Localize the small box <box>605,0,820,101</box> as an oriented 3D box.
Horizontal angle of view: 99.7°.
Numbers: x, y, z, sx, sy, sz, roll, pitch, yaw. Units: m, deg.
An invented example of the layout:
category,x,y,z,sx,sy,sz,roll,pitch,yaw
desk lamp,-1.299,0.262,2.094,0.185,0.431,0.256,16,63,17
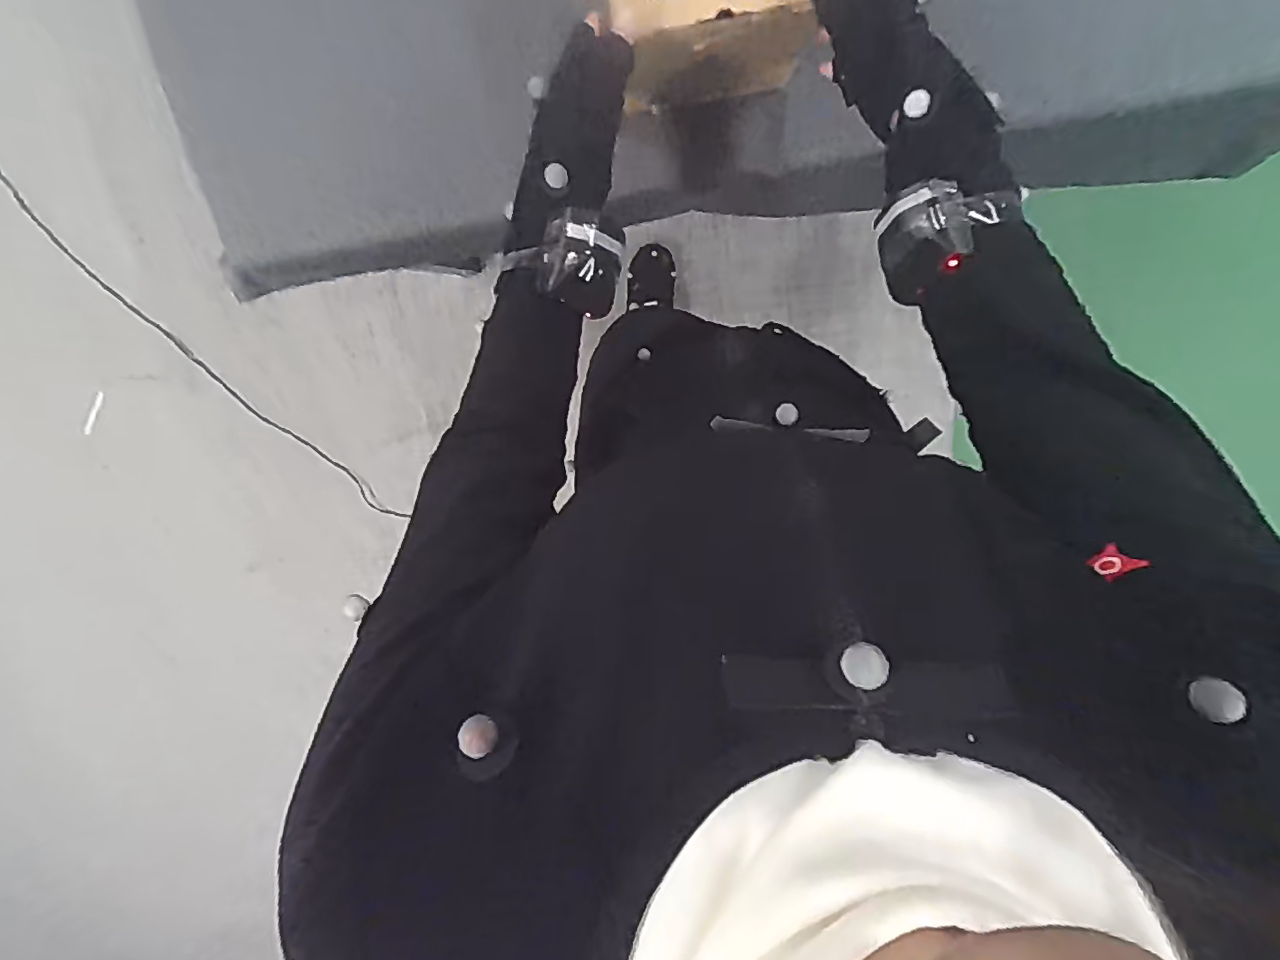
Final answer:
category,x,y,z,sx,sy,sz,roll,pitch,yaw
small box,0.047,-0.454,0.459,0.168,0.176,0.179,-10,108,5
